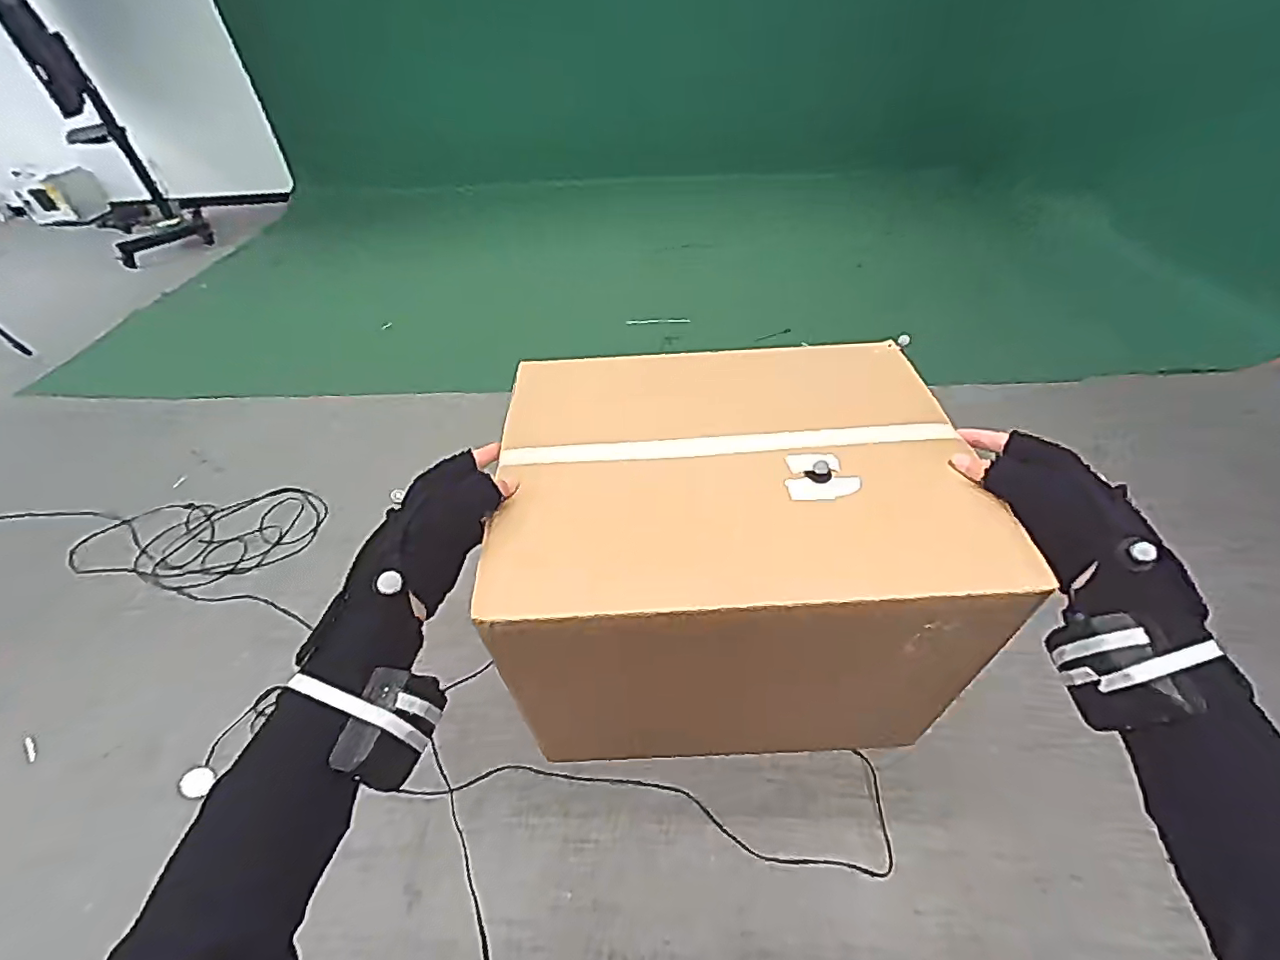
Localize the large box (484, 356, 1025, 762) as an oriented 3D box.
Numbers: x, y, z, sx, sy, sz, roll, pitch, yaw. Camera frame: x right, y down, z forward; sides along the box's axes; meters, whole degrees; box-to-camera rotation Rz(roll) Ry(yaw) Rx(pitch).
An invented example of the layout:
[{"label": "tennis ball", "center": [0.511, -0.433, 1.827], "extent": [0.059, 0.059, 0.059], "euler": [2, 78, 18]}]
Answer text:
[{"label": "large box", "center": [0.080, 0.086, 0.596], "extent": [0.408, 0.320, 0.320], "euler": [-3, 46, 0]}]
